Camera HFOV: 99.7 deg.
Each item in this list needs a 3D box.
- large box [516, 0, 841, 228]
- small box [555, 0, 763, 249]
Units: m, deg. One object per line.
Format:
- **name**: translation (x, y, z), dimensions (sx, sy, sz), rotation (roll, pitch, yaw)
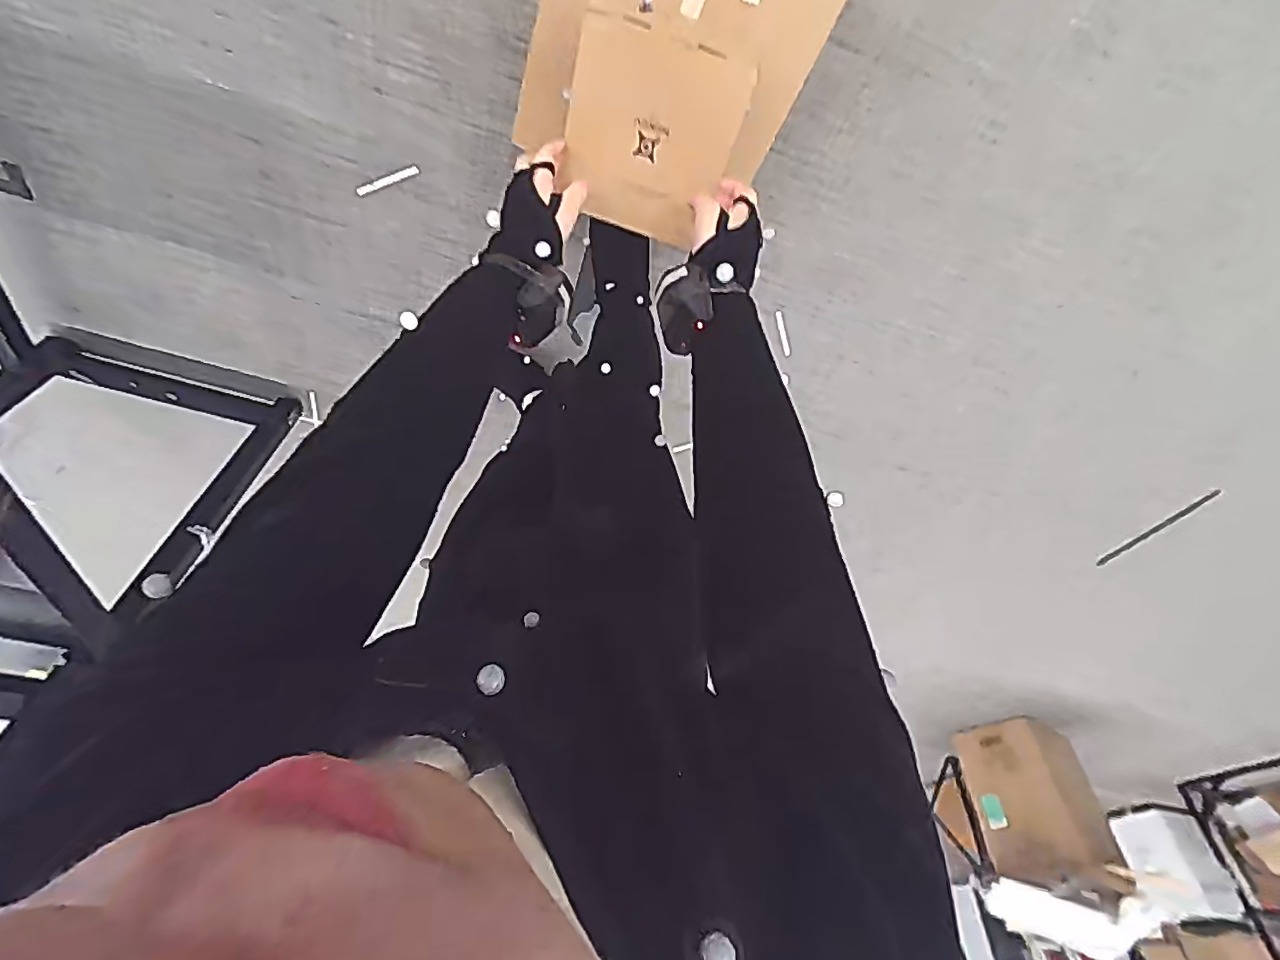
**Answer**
- **large box**: translation (0.058, -0.630, 0.702), dimensions (0.320, 0.320, 0.408), rotation (17, 134, -15)
- **small box**: translation (0.019, -0.392, 0.589), dimensions (0.168, 0.176, 0.179), rotation (17, 135, -6)
